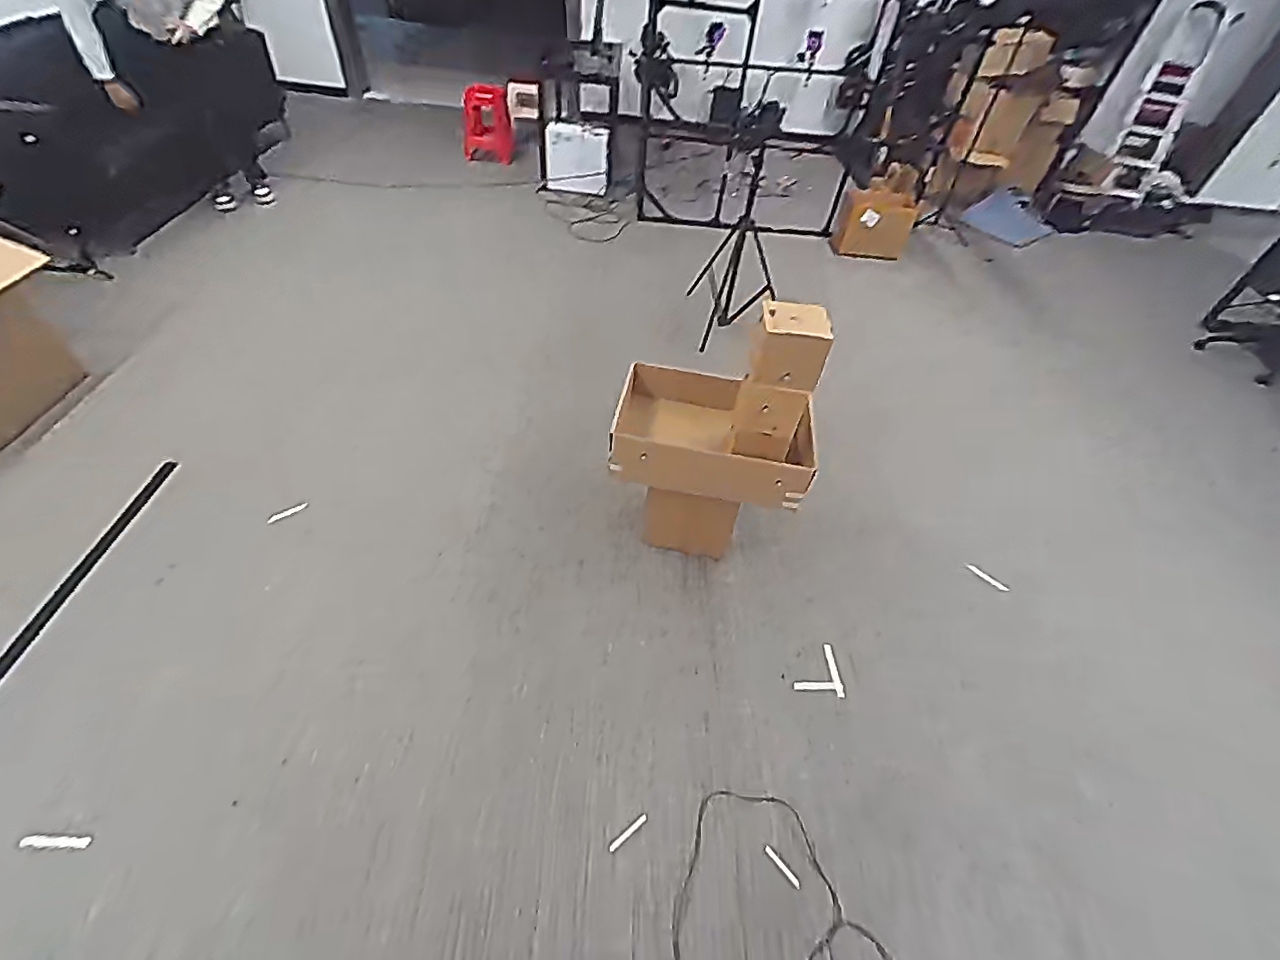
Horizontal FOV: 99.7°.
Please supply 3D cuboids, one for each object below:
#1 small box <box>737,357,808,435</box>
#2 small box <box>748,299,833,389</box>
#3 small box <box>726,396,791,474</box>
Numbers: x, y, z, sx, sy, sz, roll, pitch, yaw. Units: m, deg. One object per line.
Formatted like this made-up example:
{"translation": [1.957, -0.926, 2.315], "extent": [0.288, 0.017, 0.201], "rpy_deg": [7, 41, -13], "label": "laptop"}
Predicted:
{"translation": [0.386, -0.254, 1.596], "extent": [0.168, 0.176, 0.179], "rpy_deg": [9, 46, 1], "label": "small box"}
{"translation": [0.403, -0.368, 1.480], "extent": [0.179, 0.176, 0.168], "rpy_deg": [7, 45, 0], "label": "small box"}
{"translation": [0.372, -0.142, 1.712], "extent": [0.168, 0.176, 0.179], "rpy_deg": [8, 46, 1], "label": "small box"}
